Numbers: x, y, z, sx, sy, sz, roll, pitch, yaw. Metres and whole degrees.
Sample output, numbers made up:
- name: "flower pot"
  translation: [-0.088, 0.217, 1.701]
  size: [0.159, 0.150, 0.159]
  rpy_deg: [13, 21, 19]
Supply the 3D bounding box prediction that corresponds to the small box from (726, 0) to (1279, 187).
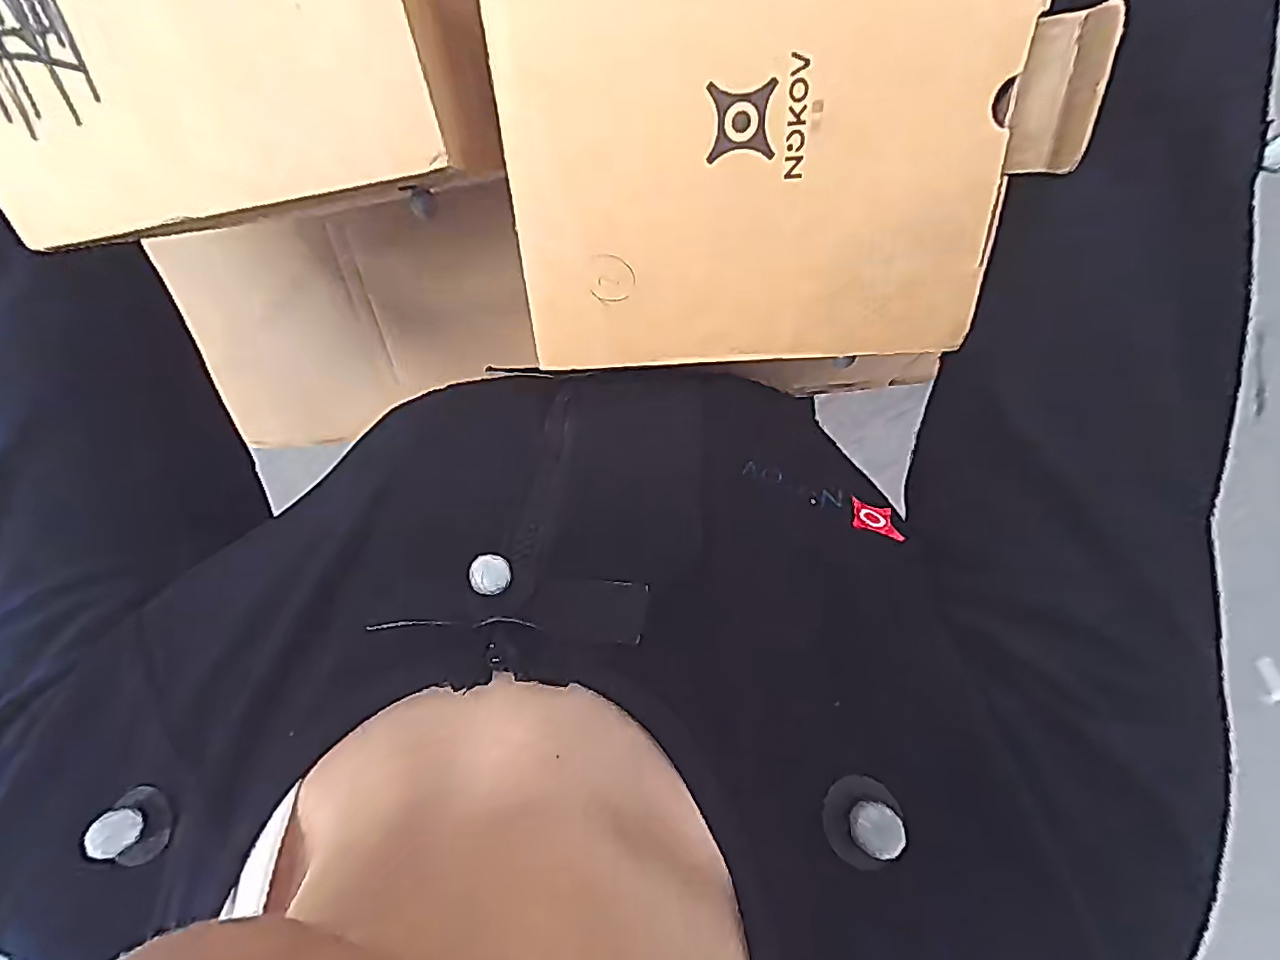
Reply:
- name: "small box"
  translation: [0.138, -0.220, 0.195]
  size: [0.179, 0.176, 0.168]
  rpy_deg: [10, 126, -3]
